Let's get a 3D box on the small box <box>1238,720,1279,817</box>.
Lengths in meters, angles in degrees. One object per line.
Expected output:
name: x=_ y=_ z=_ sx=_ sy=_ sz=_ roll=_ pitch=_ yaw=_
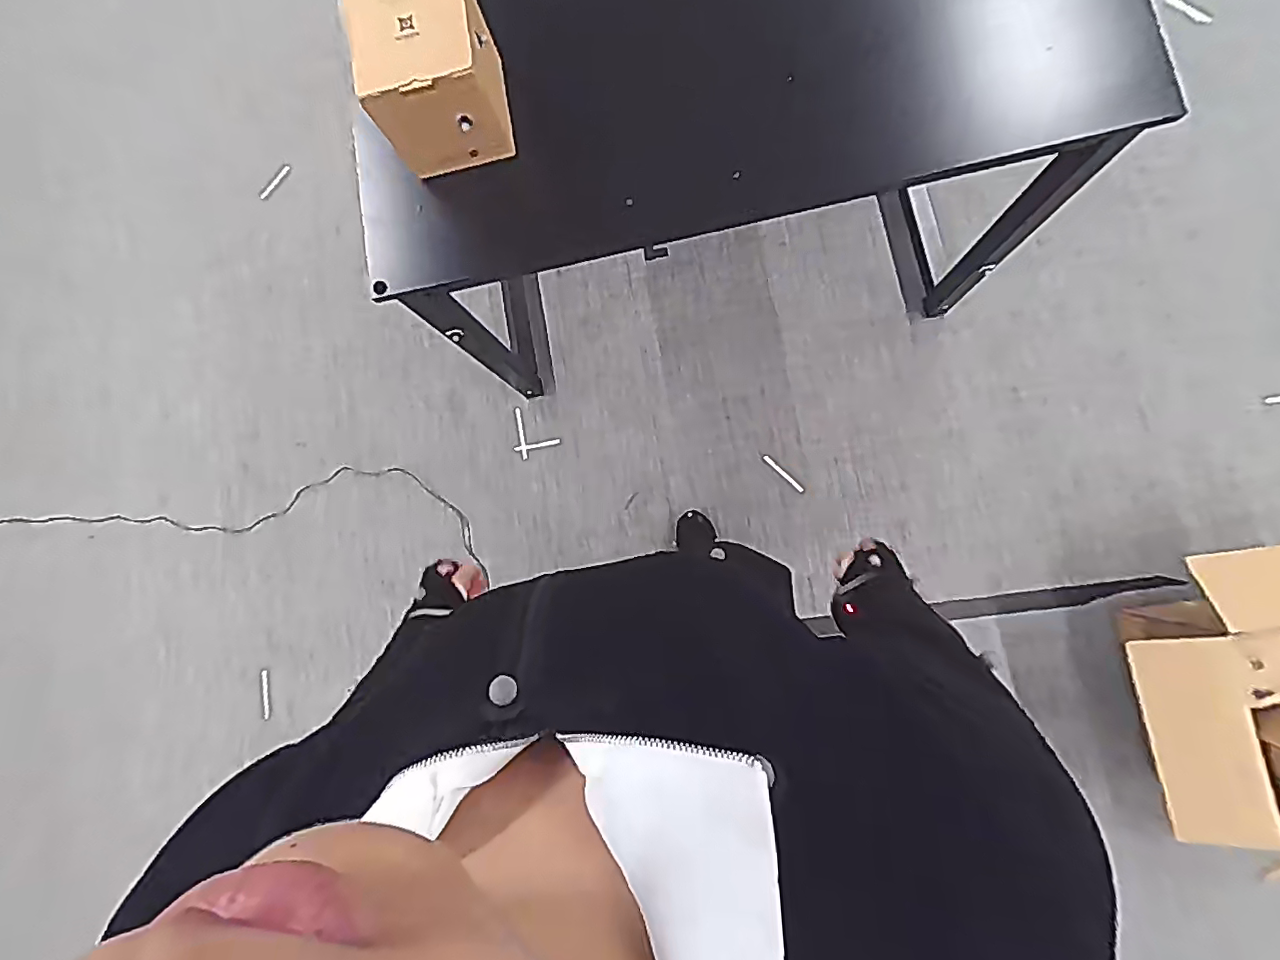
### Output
small box: x=1.330 y=0.576 z=1.043 sx=0.179 sy=0.176 sz=0.168 roll=-16 pitch=86 yaw=5

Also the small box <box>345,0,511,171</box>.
small box: x=-0.302 y=-0.591 z=0.799 sx=0.168 sy=0.176 sz=0.179 roll=-11 pitch=82 yaw=4
